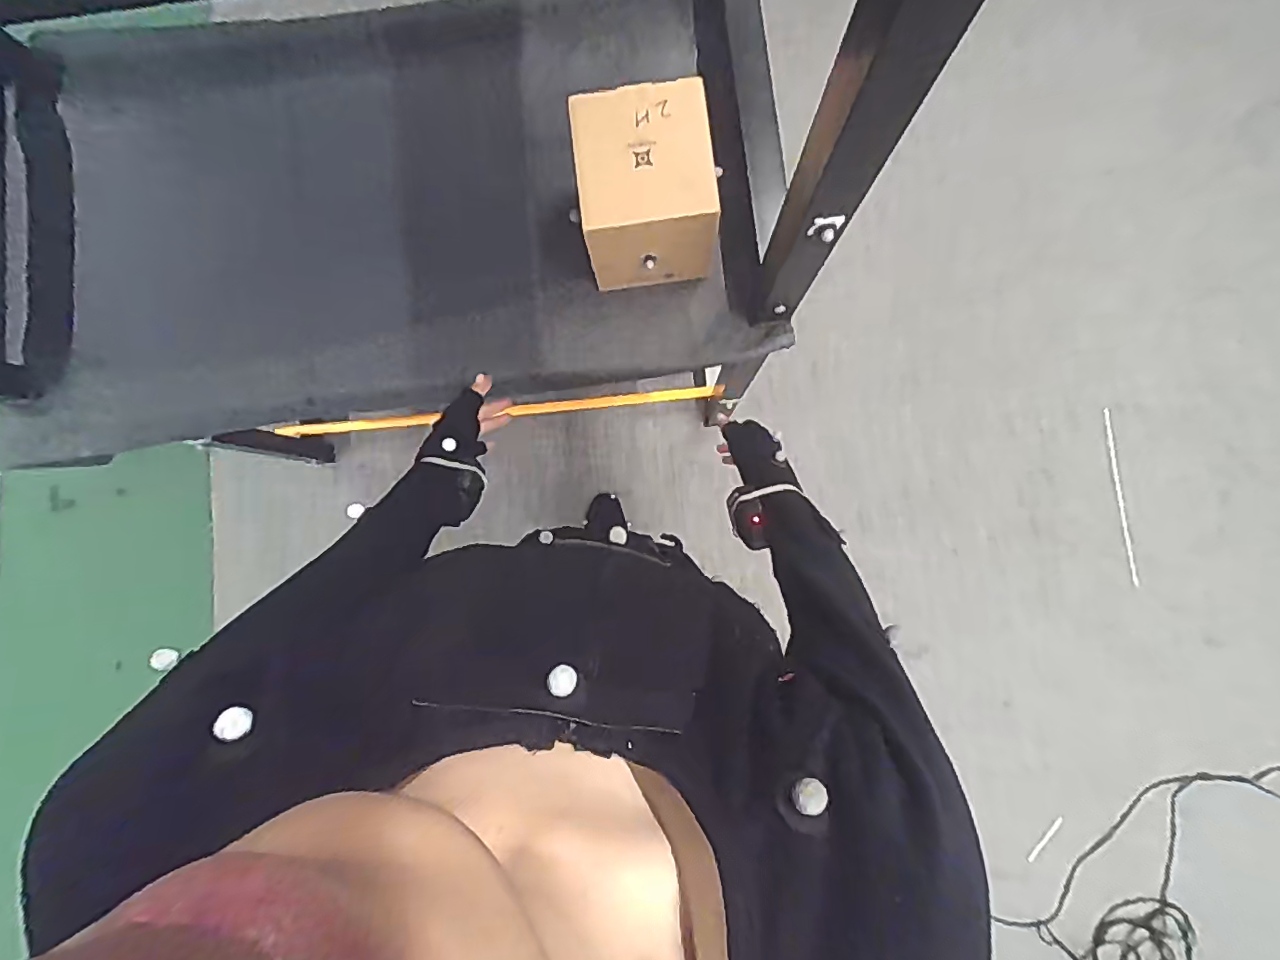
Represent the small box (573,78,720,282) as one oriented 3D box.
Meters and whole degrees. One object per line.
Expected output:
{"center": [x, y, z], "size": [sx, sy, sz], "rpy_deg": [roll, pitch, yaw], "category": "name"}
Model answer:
{"center": [0.011, -0.384, 0.726], "size": [0.168, 0.176, 0.179], "rpy_deg": [-7, 84, 2], "category": "small box"}
